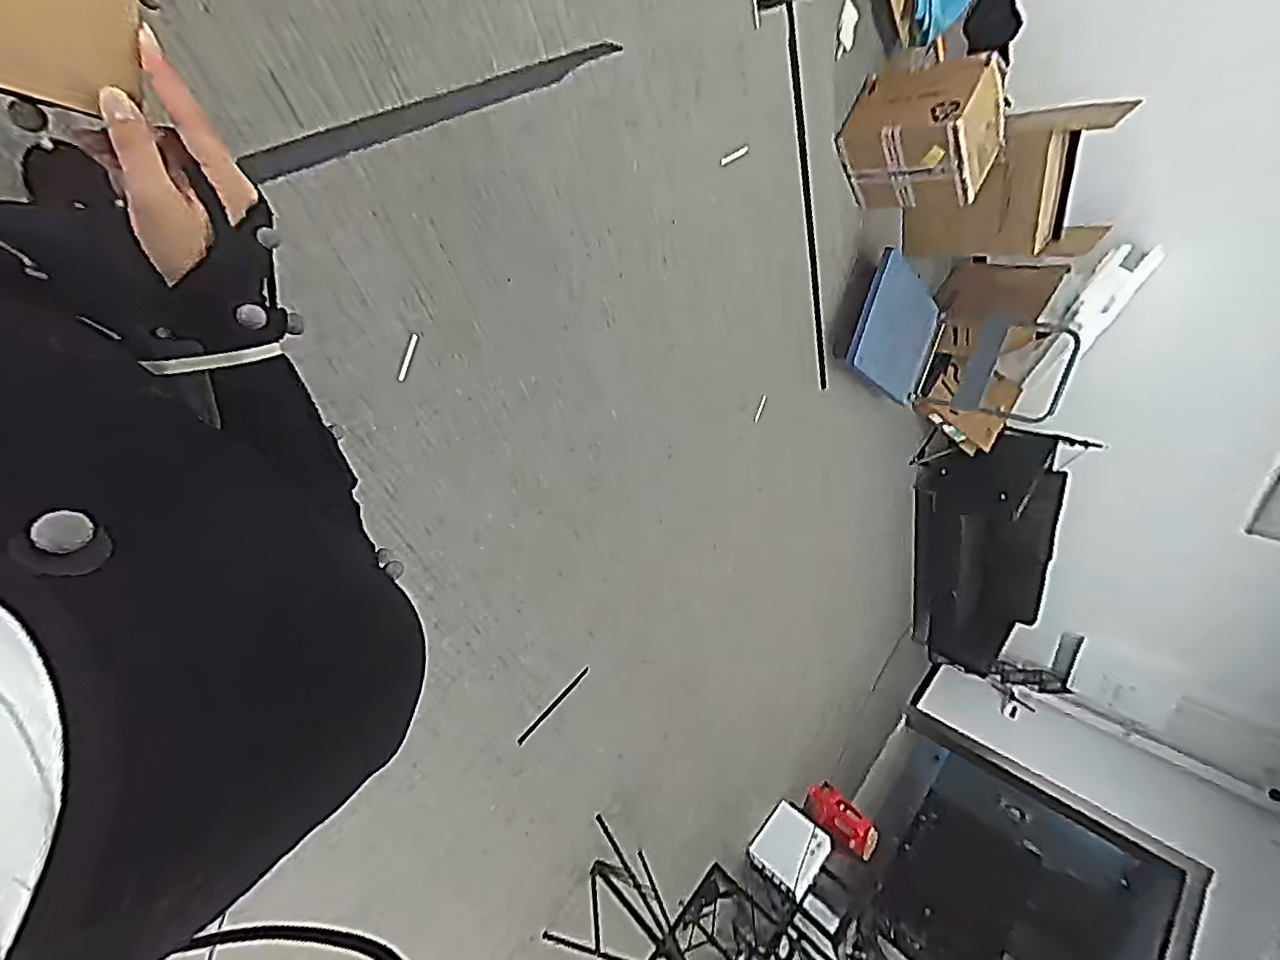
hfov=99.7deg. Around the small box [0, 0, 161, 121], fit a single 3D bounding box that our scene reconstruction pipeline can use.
[{"bbox_3d":[-0.360,-0.304,0.263,0.179,0.176,0.168,-4,118,-45],"label":"small box"}]
